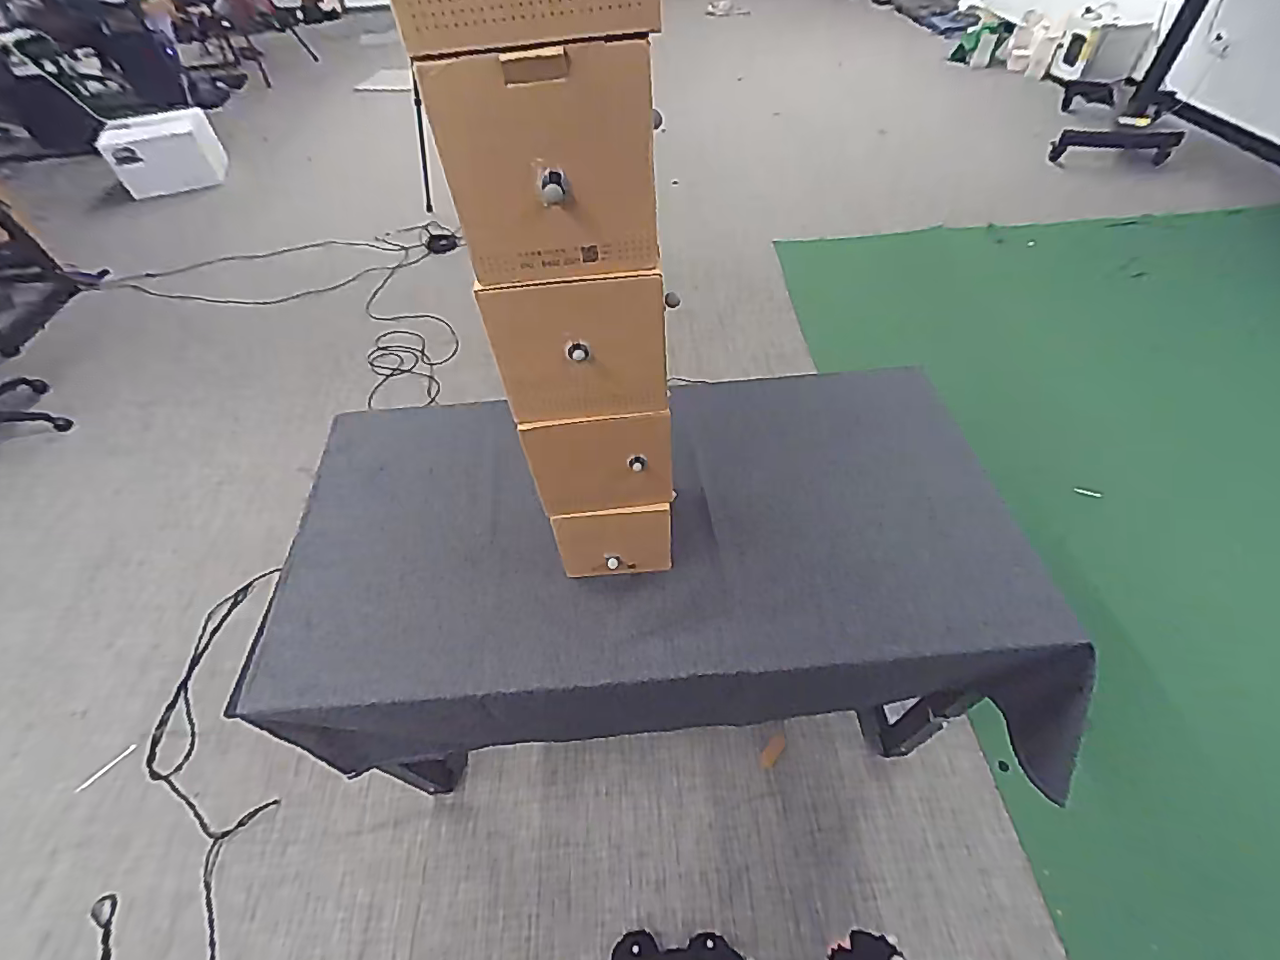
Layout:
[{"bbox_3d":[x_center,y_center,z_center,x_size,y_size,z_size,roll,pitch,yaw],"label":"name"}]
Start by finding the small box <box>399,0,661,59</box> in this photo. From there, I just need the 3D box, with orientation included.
[{"bbox_3d":[-0.082,-0.408,0.366,0.179,0.176,0.168,-5,49,1],"label":"small box"}]

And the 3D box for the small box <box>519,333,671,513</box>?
[{"bbox_3d":[-0.054,-0.073,0.725,0.179,0.176,0.168,-6,49,-1],"label":"small box"}]

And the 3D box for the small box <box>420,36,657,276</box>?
[{"bbox_3d":[-0.075,-0.301,0.492,0.168,0.176,0.179,-5,49,0],"label":"small box"}]

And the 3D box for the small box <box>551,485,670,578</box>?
[{"bbox_3d":[-0.041,0.034,0.847,0.168,0.176,0.179,-4,50,1],"label":"small box"}]
